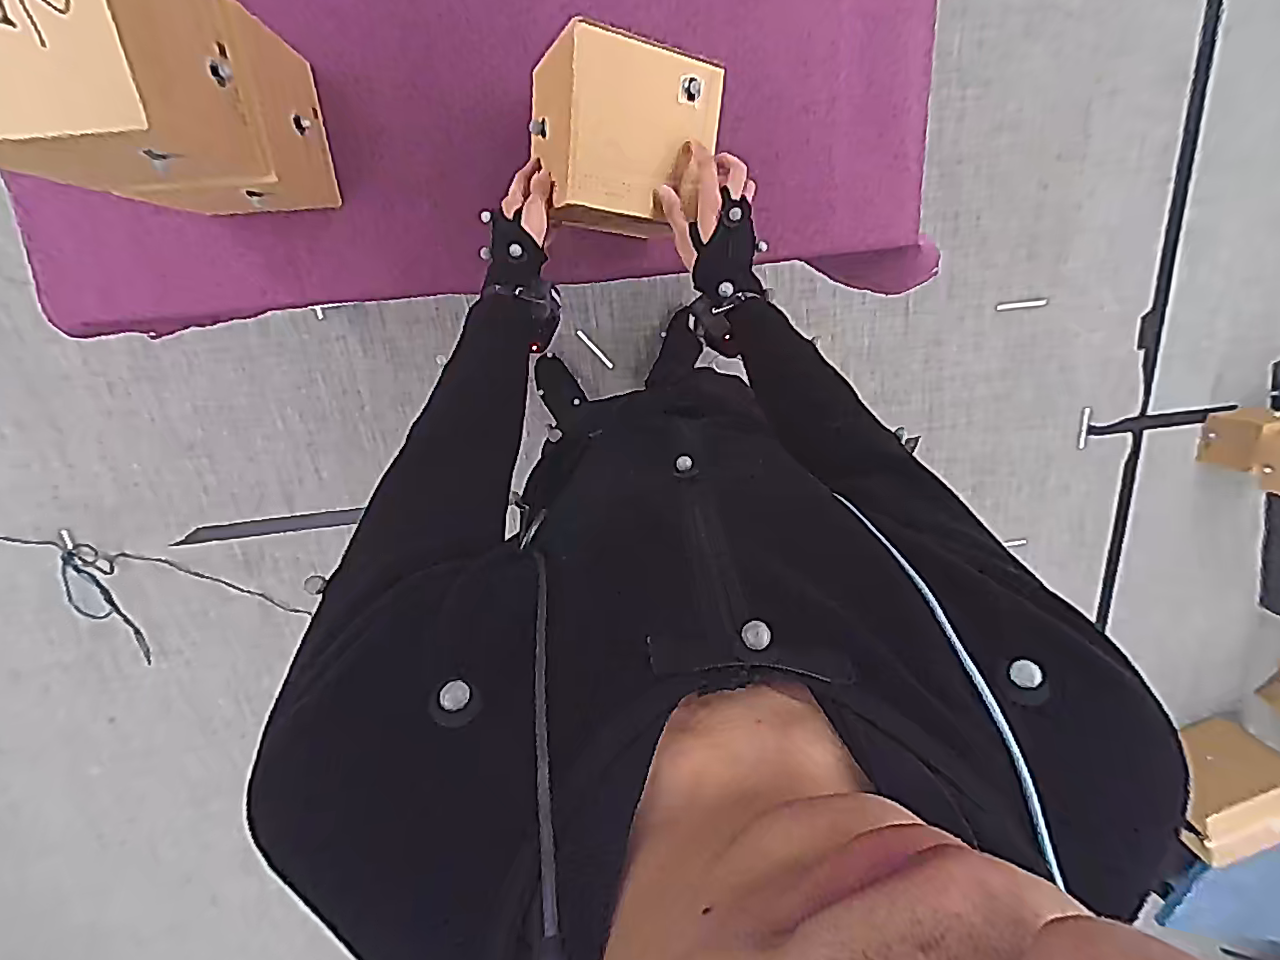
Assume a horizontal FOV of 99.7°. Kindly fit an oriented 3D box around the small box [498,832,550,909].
[{"bbox_3d":[-0.435,1.466,2.044,0.168,0.176,0.179,-4,110,-4],"label":"small box"}]

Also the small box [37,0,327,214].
[{"bbox_3d":[-0.486,-0.408,0.616,0.179,0.176,0.168,-6,109,-4],"label":"small box"}]

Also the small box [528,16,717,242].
[{"bbox_3d":[-0.031,-0.392,0.643,0.179,0.168,0.176,-2,109,-25],"label":"small box"}]
